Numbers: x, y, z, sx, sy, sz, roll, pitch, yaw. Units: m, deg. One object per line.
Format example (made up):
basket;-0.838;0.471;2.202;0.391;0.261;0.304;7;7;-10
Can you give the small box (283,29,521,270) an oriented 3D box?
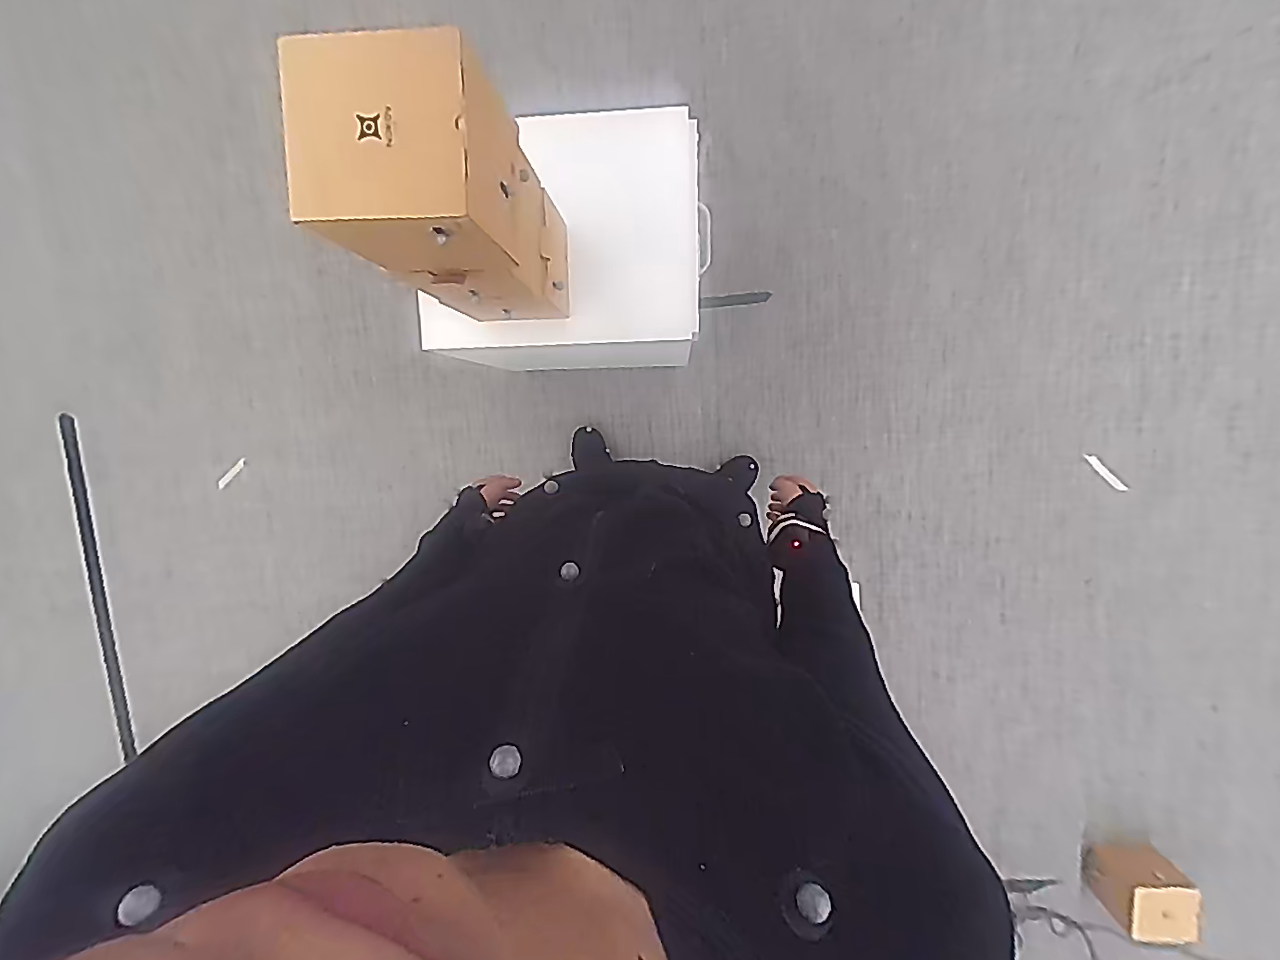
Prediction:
small box;-0.237;-0.331;0.578;0.179;0.176;0.168;0;96;3

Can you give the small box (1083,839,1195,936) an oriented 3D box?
small box;1.477;1.205;1.609;0.179;0.176;0.168;-2;97;4

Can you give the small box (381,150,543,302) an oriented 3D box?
small box;-0.235;-0.352;0.740;0.168;0.176;0.179;1;97;4
